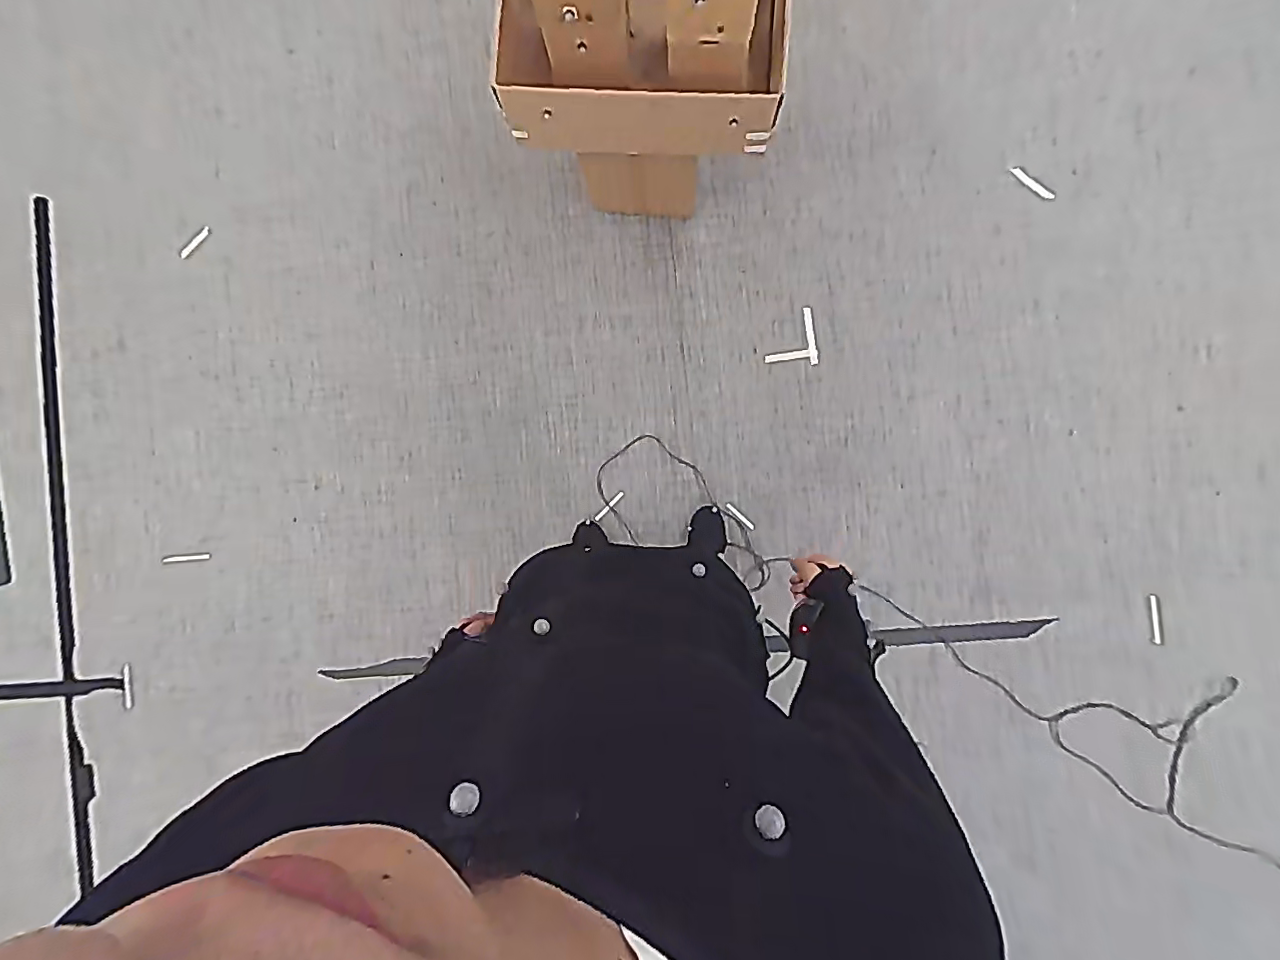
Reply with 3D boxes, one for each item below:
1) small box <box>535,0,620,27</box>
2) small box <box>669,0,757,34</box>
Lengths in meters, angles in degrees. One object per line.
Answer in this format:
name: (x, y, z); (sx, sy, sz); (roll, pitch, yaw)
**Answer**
small box: (-0.126, -1.000, 1.004); (0.168, 0.176, 0.179); (-2, 87, 4)
small box: (0.137, -0.964, 0.990); (0.168, 0.176, 0.179); (2, 87, 3)
